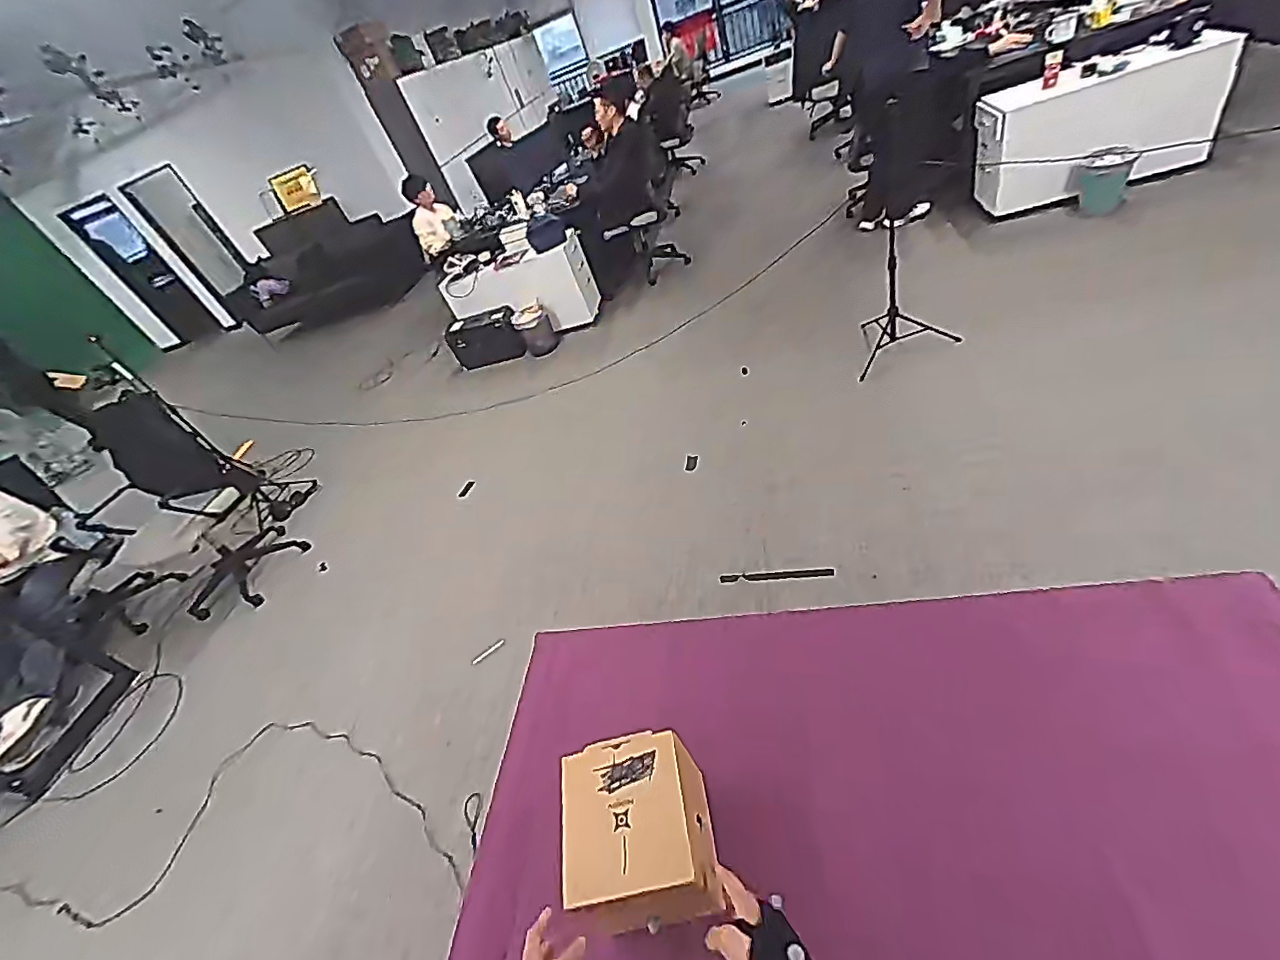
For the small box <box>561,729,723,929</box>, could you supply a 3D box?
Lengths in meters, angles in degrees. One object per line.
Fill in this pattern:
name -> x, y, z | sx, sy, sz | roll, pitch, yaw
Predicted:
small box -> 0.003, 0.473, 0.733 | 0.168, 0.176, 0.179 | -18, 41, 8
